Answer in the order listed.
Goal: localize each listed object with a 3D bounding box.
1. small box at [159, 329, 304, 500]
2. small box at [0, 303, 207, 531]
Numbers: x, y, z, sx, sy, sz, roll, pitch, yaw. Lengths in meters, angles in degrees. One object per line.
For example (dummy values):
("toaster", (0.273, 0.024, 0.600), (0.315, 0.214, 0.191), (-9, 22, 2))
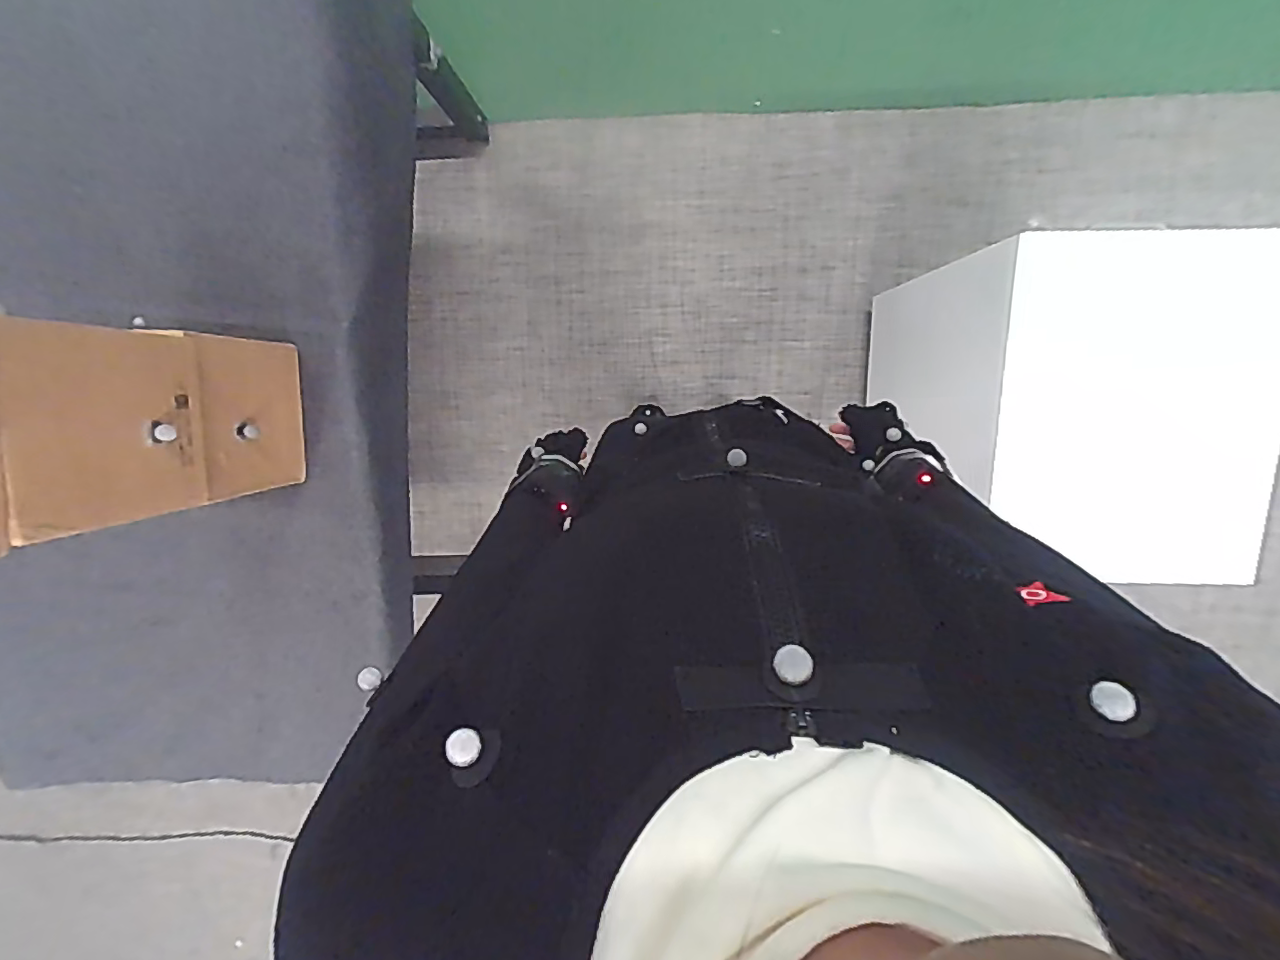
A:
("small box", (-0.524, -0.083, 0.628), (0.168, 0.176, 0.179), (3, 101, 3))
("small box", (-0.532, -0.056, 0.467), (0.179, 0.176, 0.168), (0, 99, 5))
